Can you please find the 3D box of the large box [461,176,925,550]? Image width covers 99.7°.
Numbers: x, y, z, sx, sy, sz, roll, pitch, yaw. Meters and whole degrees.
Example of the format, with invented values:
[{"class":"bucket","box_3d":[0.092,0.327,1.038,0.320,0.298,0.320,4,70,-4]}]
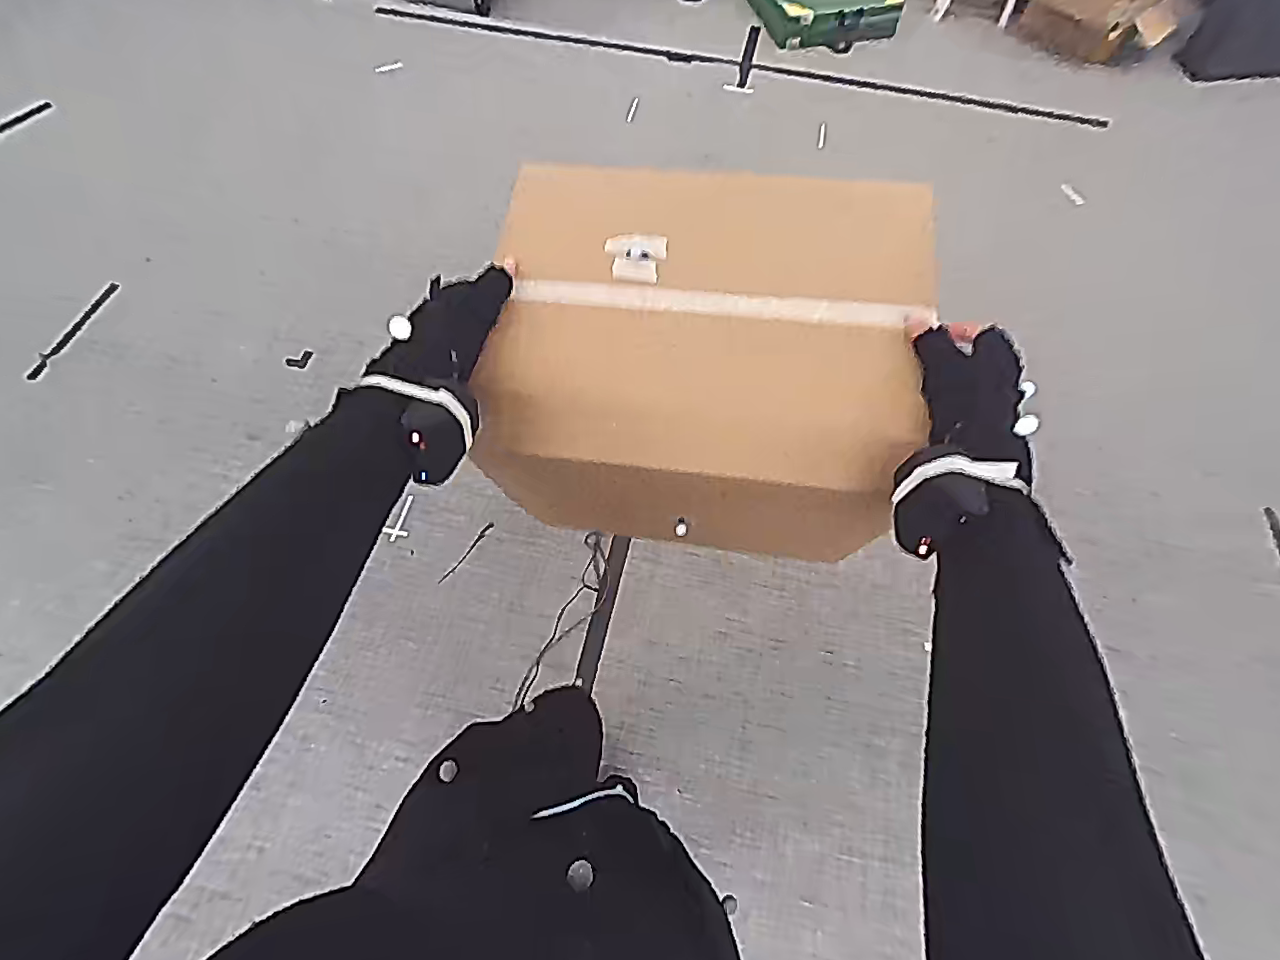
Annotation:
[{"class":"large box","box_3d":[0.070,-0.112,0.641,0.408,0.320,0.320,7,72,8]}]
